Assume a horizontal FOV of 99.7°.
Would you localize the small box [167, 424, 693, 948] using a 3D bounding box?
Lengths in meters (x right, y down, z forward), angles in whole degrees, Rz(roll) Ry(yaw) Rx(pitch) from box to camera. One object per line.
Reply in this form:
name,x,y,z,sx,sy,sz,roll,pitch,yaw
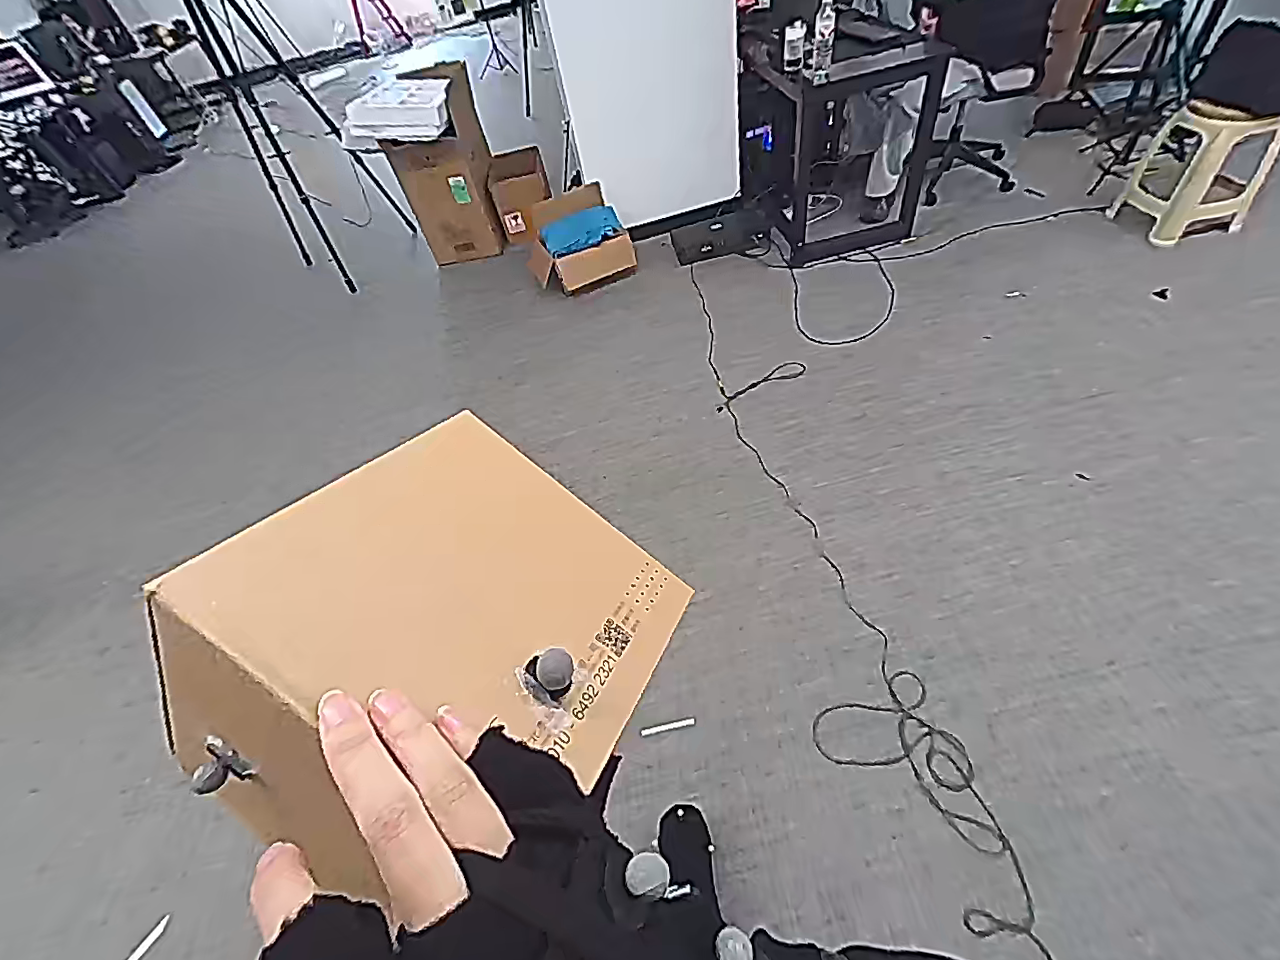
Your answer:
small box,-0.101,0.109,0.294,0.176,0.179,0.168,38,38,2
